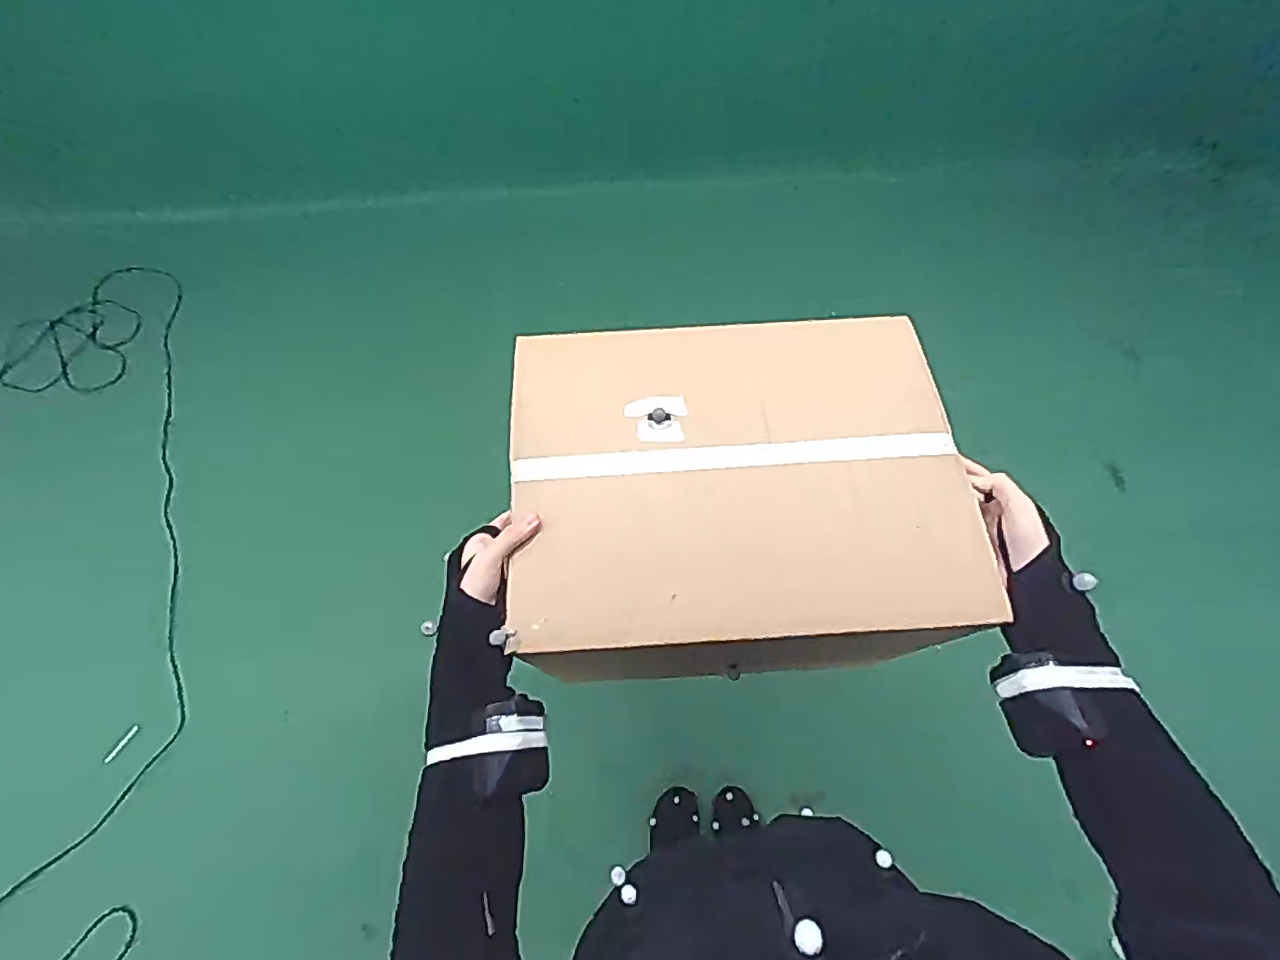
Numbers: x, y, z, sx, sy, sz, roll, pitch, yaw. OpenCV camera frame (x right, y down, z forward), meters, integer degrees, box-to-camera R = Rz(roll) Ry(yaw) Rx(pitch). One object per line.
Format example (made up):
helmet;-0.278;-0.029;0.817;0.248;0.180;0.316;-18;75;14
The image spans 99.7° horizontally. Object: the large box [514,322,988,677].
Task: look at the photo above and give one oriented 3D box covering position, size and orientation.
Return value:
large box;0.089;0.049;0.643;0.408;0.320;0.320;-4;65;0
